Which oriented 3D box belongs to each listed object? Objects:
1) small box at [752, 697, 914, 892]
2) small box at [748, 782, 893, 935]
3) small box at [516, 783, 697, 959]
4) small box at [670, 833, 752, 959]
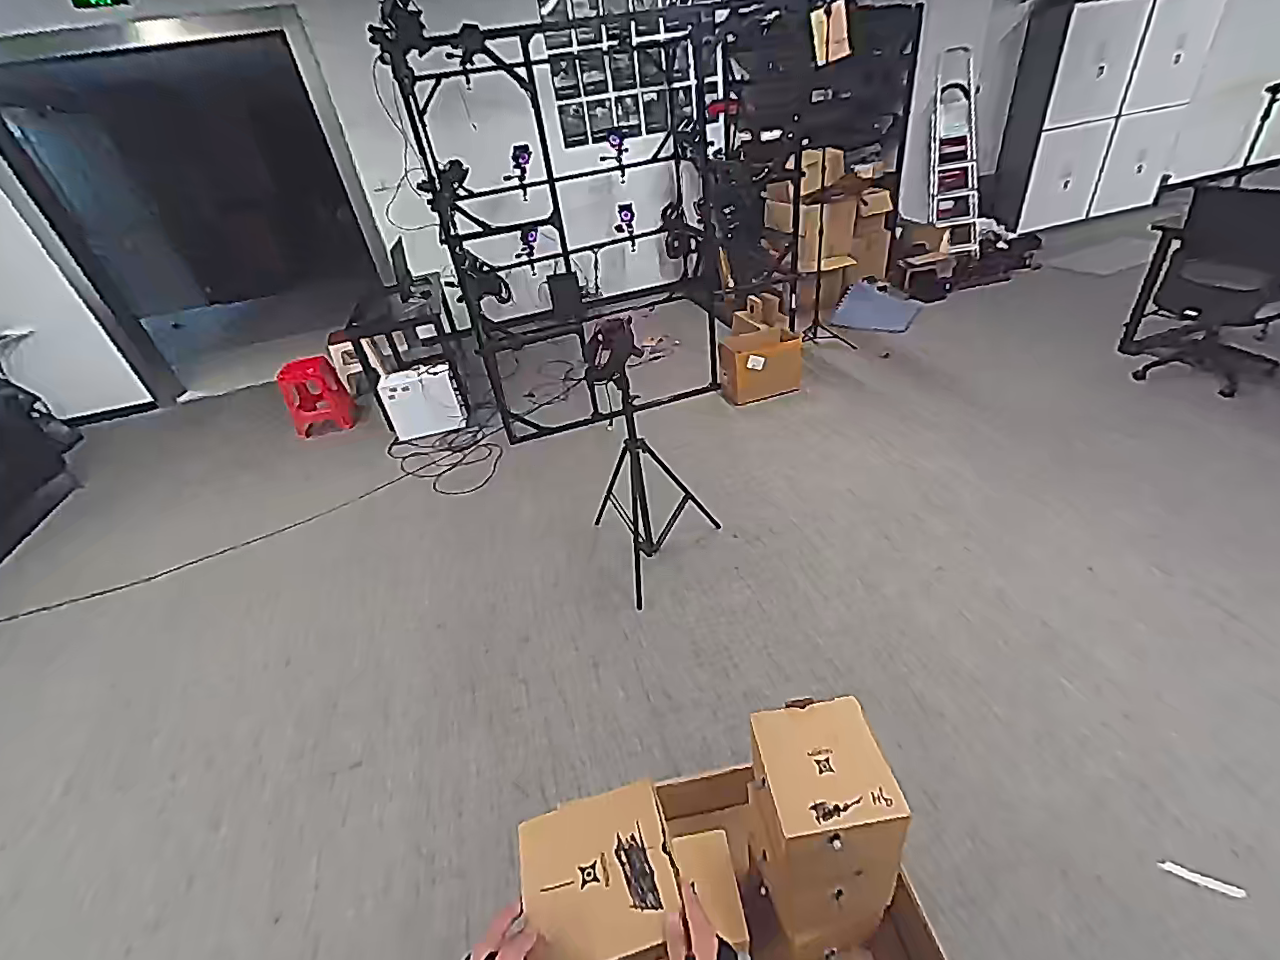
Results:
[{"bbox_3d":[0.264,0.449,0.779,0.168,0.176,0.179,-11,33,1],"label":"small box"},{"bbox_3d":[0.287,0.586,0.868,0.179,0.176,0.168,-14,34,-4],"label":"small box"},{"bbox_3d":[-0.037,0.508,0.649,0.179,0.176,0.168,-17,35,-5],"label":"small box"},{"bbox_3d":[0.091,0.762,0.954,0.179,0.176,0.168,-10,34,-2],"label":"small box"}]
